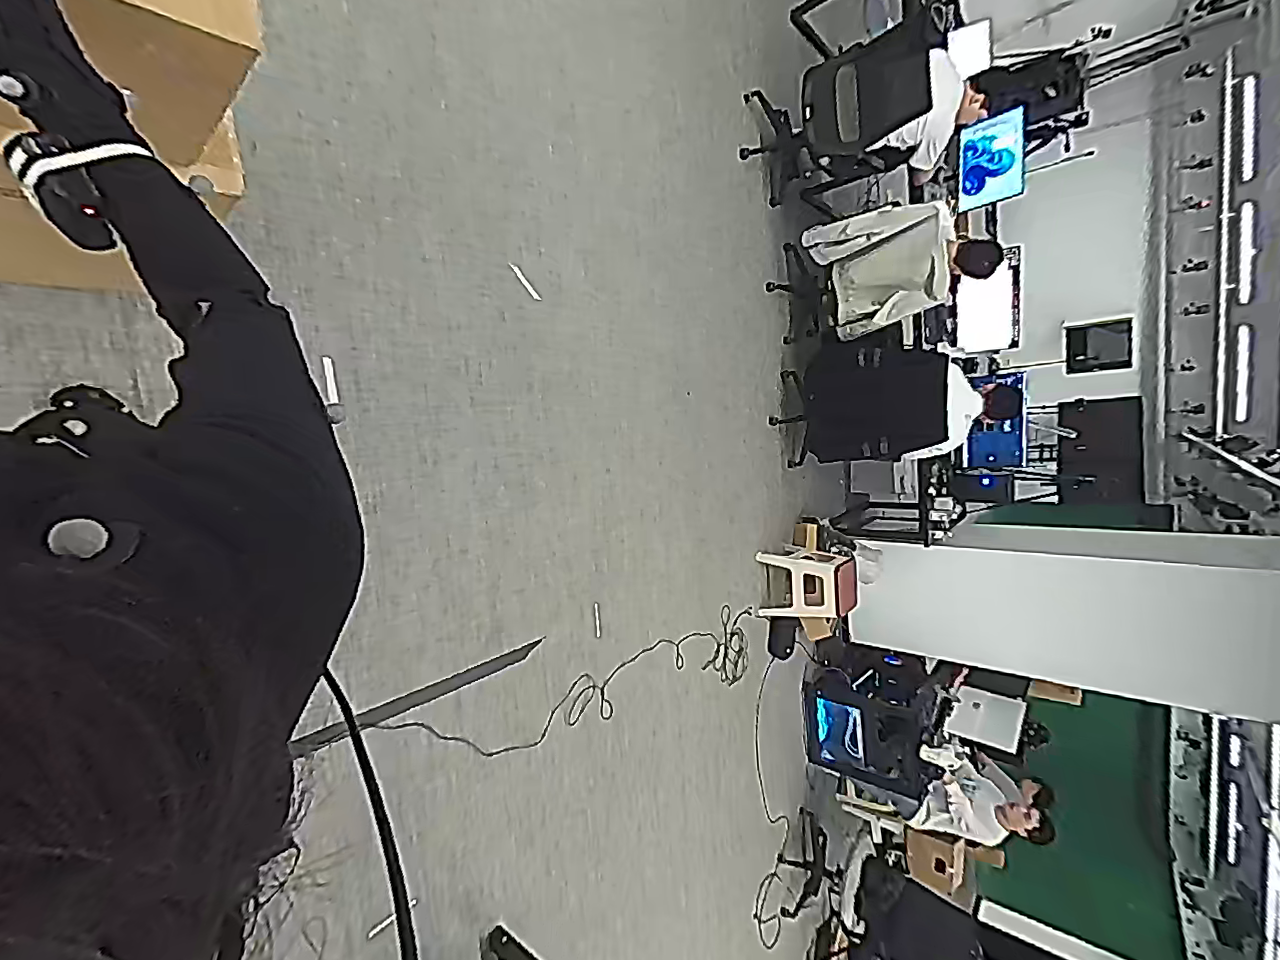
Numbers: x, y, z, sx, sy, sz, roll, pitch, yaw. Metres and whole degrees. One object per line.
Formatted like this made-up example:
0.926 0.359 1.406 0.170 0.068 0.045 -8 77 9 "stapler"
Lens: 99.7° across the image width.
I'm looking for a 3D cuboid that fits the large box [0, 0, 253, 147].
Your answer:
-0.650 -0.567 0.475 0.408 0.320 0.320 -14 102 -50 "large box"
